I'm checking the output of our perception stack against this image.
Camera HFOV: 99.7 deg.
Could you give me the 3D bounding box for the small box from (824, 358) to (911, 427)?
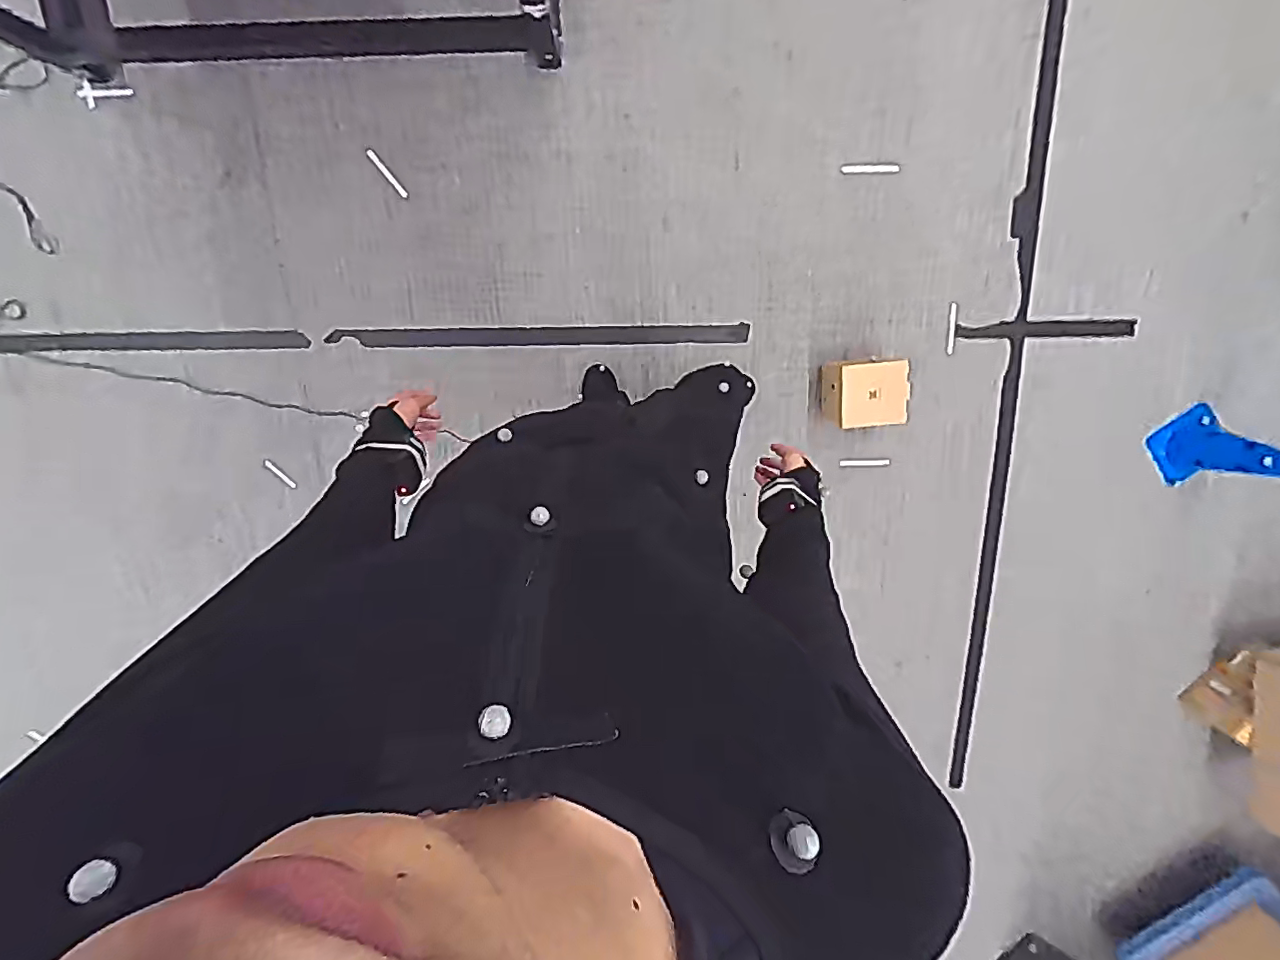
[{"bbox_3d":[0.618,-0.245,1.491,0.179,0.176,0.168,-5,105,0],"label":"small box"}]
